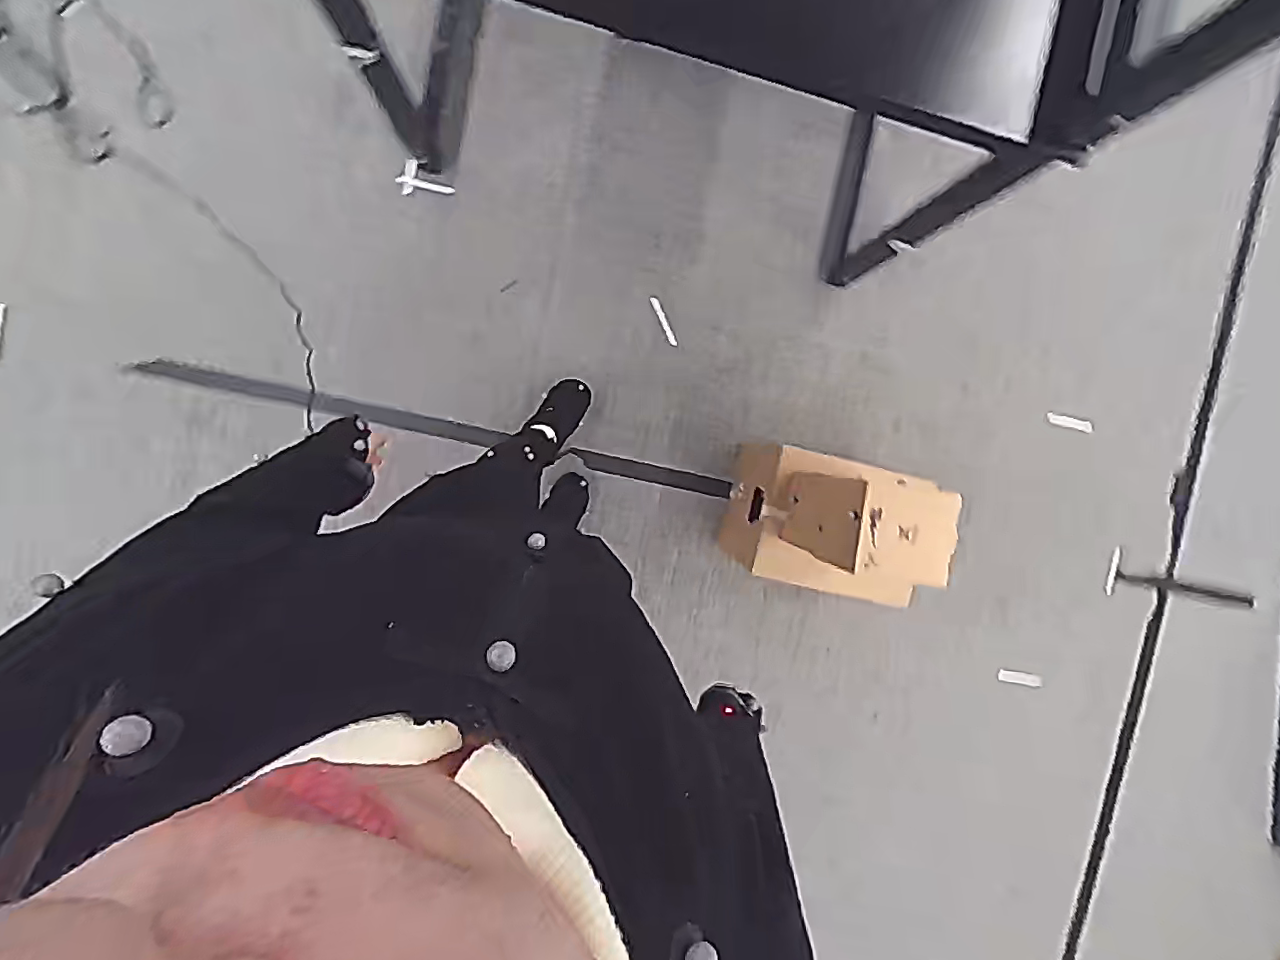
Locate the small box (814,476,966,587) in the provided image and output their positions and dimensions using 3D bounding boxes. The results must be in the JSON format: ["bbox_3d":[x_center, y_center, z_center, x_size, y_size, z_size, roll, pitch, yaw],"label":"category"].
[{"bbox_3d":[0.449,0.086,0.993,0.179,0.176,0.168,9,91,-8],"label":"small box"}]

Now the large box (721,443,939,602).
[{"bbox_3d":[0.466,0.093,1.408,0.408,0.320,0.320,13,94,-8],"label":"large box"}]

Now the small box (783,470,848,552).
[{"bbox_3d":[0.432,0.076,1.156,0.179,0.176,0.168,12,92,-6],"label":"small box"}]
